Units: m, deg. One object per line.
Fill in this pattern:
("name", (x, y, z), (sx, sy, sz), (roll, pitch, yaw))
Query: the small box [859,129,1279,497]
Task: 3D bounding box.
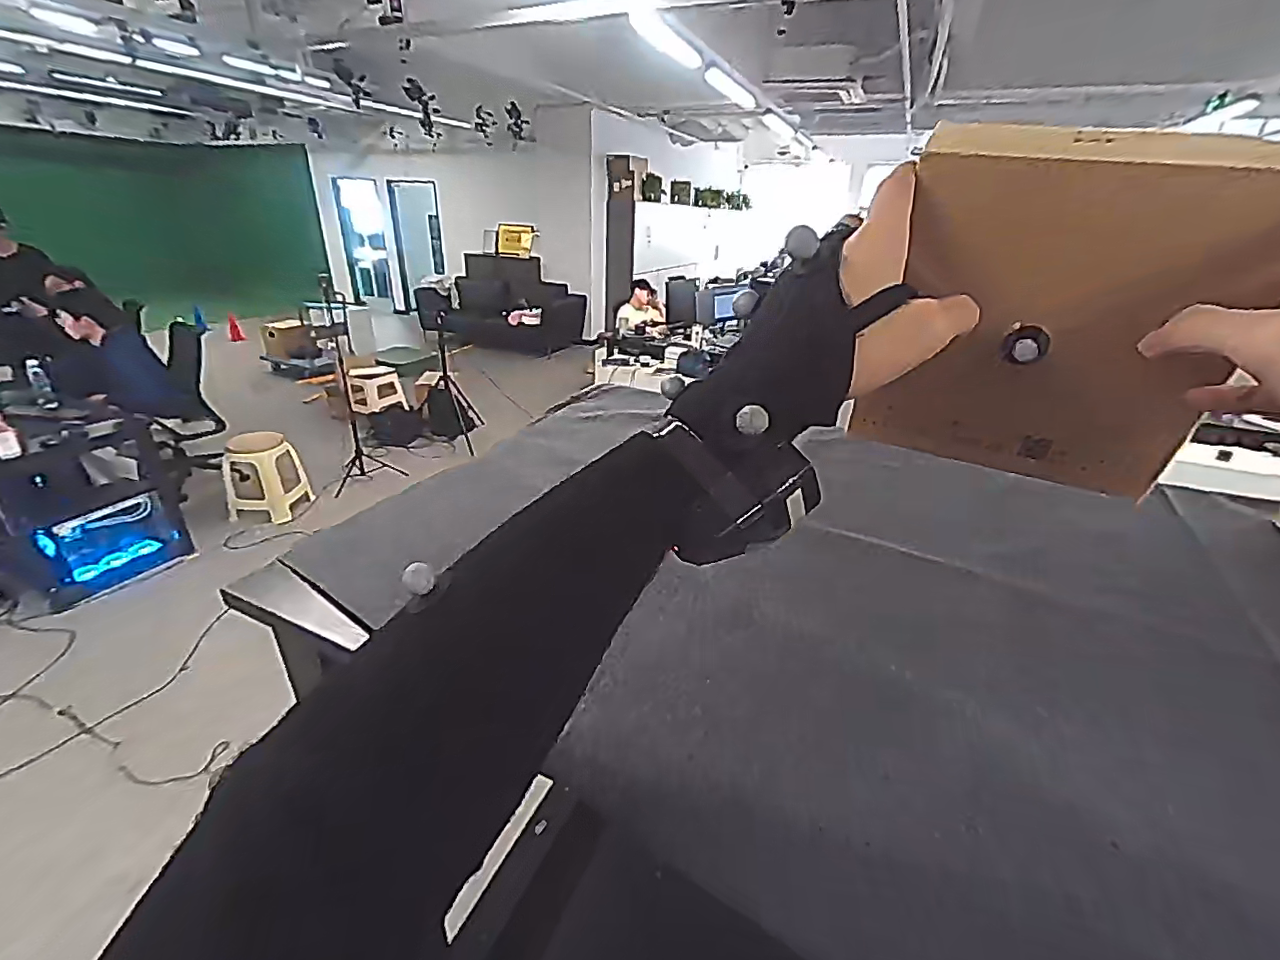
("small box", (0.249, -0.114, 0.342), (0.168, 0.176, 0.179), (17, 40, 21))
